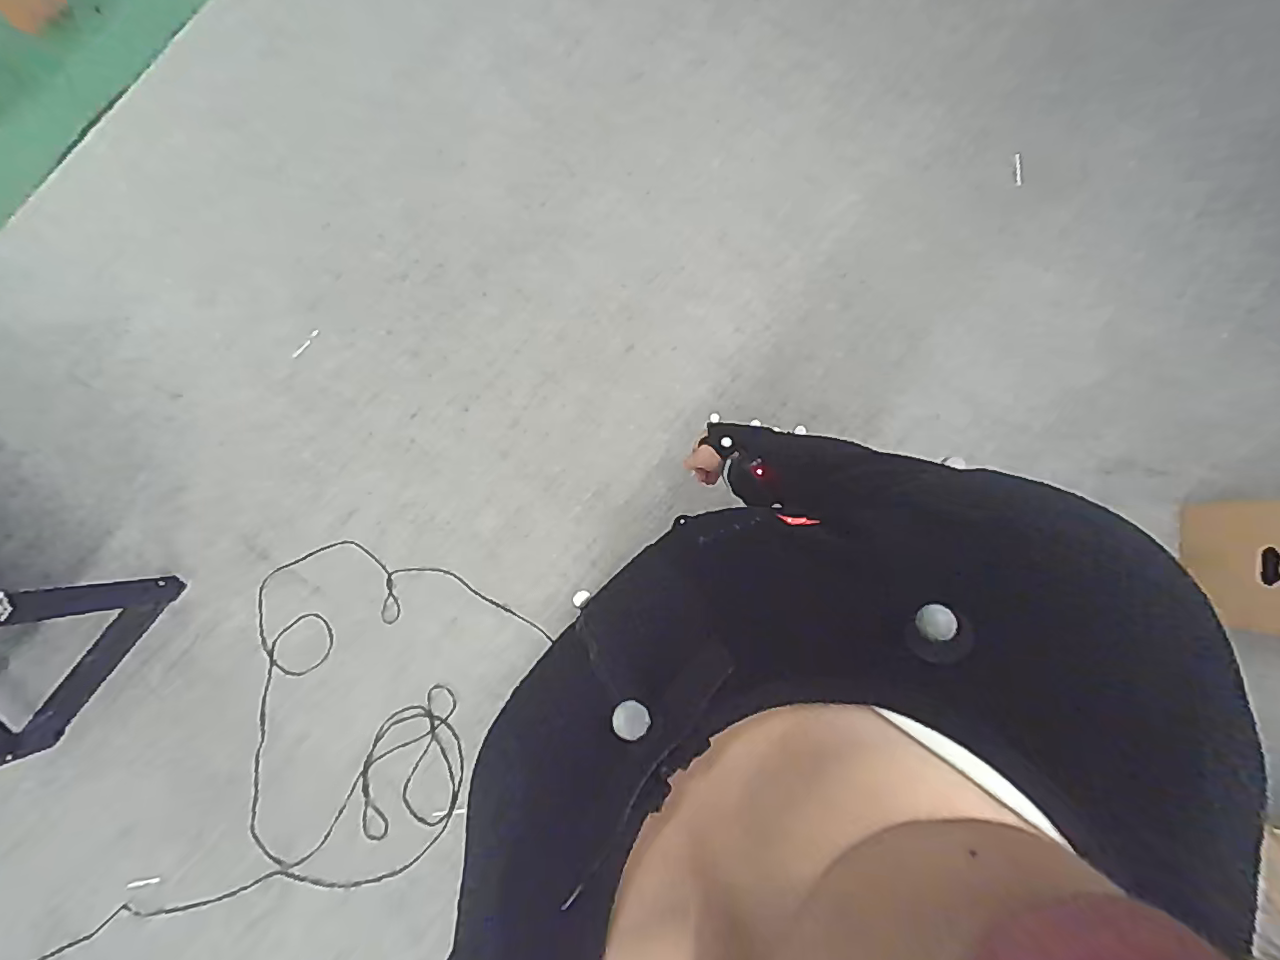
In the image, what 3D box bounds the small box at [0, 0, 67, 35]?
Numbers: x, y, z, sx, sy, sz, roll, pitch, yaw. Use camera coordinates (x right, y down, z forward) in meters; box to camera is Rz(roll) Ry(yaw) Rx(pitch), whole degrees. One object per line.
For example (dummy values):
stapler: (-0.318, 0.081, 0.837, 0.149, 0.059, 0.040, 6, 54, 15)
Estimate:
small box: (-1.912, -1.521, 1.634, 0.168, 0.176, 0.179, 43, 88, 4)
